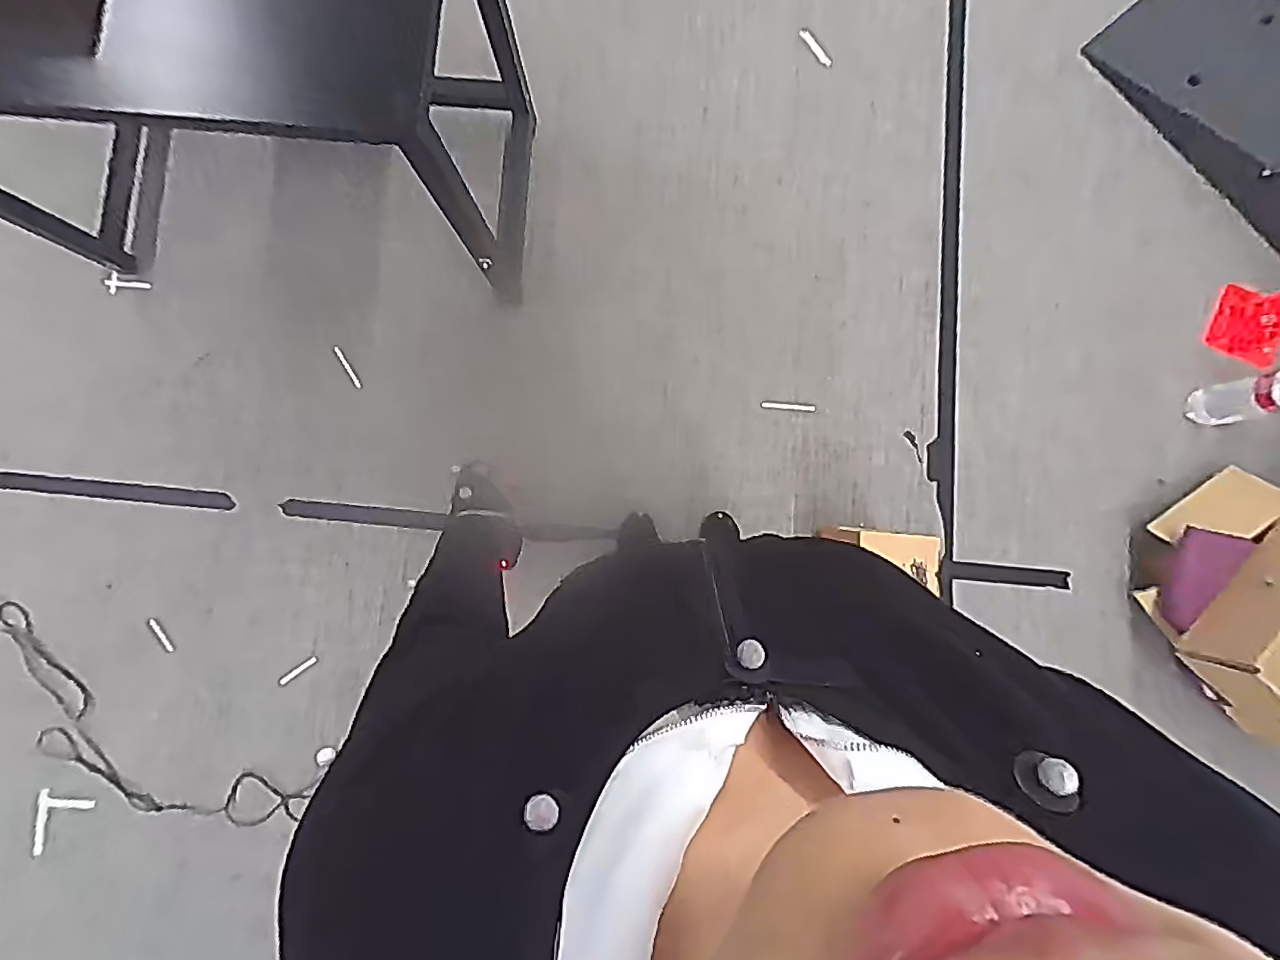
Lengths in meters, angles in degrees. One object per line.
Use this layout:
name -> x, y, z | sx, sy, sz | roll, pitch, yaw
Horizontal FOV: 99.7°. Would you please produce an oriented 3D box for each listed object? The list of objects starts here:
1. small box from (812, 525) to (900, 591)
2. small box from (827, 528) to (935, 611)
small box -> 0.563, 0.211, 1.426 | 0.168, 0.176, 0.179 | 5, 86, 1
small box -> 0.556, 0.201, 1.262 | 0.179, 0.176, 0.168 | 5, 86, 2
